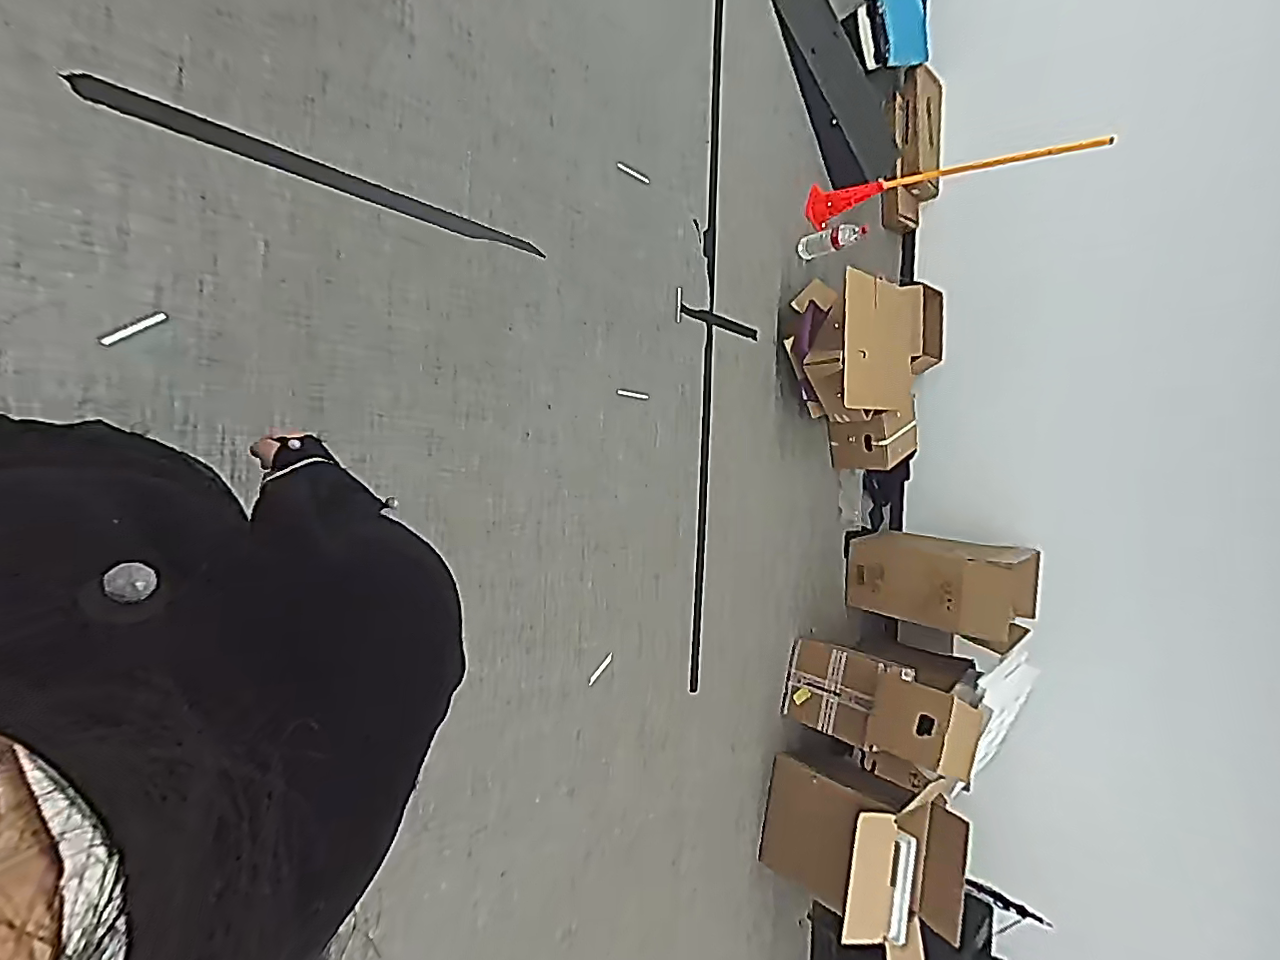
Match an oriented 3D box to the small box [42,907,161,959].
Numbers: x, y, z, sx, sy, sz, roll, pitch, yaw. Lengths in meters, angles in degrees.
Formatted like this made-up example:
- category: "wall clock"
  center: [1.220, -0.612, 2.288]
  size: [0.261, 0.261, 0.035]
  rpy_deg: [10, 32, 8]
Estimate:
- category: "small box"
  center: [-1.043, 0.975, 1.041]
  size: [0.168, 0.176, 0.179]
  rpy_deg: [5, 88, -43]
